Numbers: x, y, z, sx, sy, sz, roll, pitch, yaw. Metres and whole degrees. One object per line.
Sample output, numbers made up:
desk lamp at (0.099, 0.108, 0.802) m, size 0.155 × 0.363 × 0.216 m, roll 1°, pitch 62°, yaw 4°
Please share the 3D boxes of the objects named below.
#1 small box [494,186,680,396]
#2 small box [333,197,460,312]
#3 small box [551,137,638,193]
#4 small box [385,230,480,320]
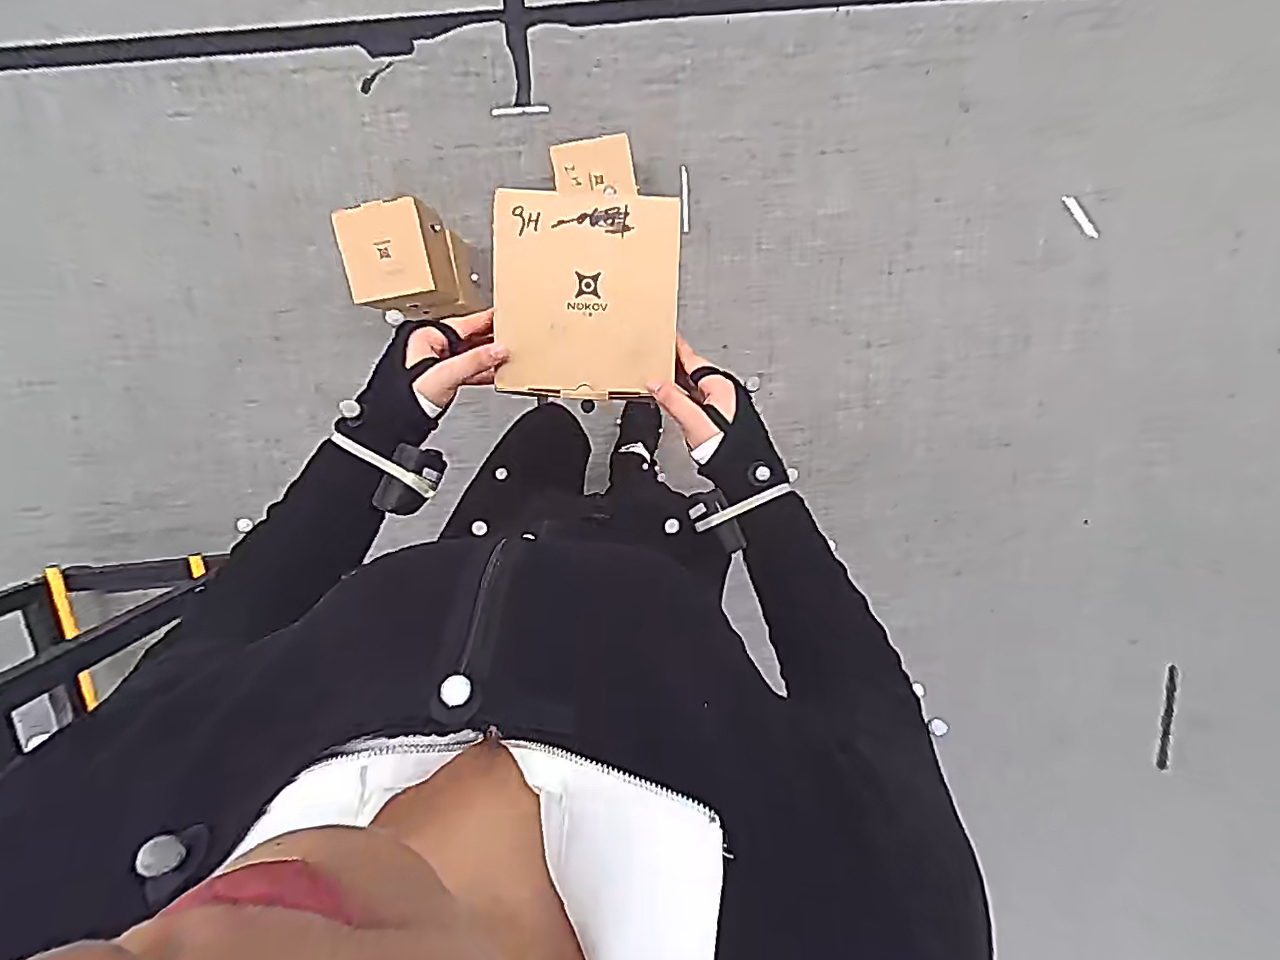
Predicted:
small box at (-0.051, -0.180, 0.564) m, size 0.168 × 0.176 × 0.179 m, roll 2°, pitch 98°, yaw -2°
small box at (-0.495, -0.459, 1.125) m, size 0.168 × 0.176 × 0.179 m, roll -10°, pitch 103°, yaw 2°
small box at (-0.099, -0.669, 1.263) m, size 0.179 × 0.176 × 0.168 m, roll -10°, pitch 101°, yaw 0°
small box at (-0.499, -0.481, 1.287) m, size 0.179 × 0.176 × 0.168 m, roll -7°, pitch 102°, yaw -1°
